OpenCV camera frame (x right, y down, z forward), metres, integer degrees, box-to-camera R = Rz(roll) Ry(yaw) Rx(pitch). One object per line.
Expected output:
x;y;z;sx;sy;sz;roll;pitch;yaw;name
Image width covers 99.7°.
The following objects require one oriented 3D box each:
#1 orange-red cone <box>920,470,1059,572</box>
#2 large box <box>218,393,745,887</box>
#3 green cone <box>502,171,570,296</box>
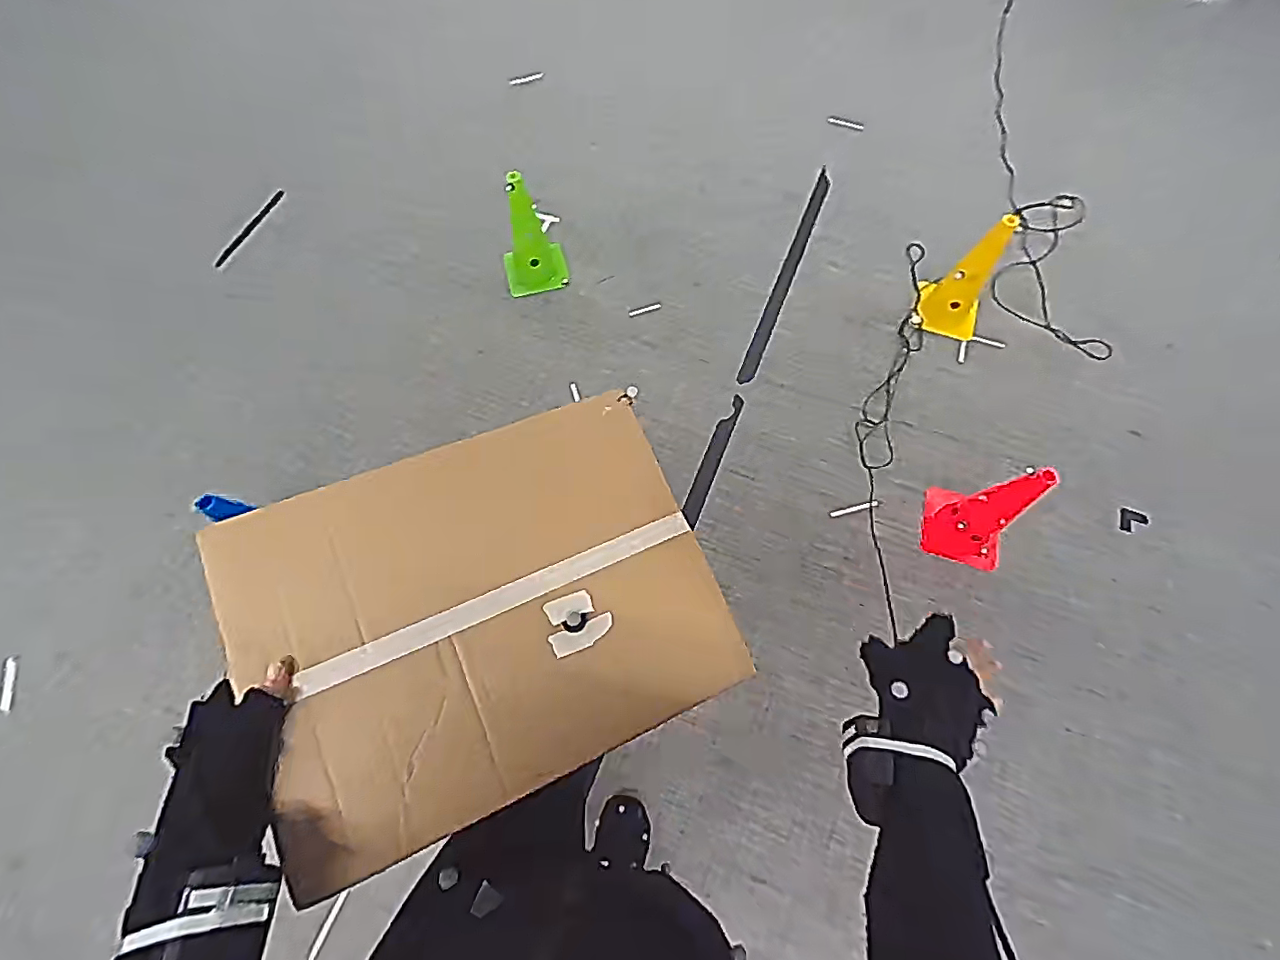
0.868;0.063;1.307;0.198;0.360;0.199;18;67;7;orange-red cone
-0.160;0.155;0.635;0.408;0.320;0.320;-21;78;-16;large box
-0.357;-0.788;1.681;0.202;0.368;0.200;-15;67;-4;green cone
